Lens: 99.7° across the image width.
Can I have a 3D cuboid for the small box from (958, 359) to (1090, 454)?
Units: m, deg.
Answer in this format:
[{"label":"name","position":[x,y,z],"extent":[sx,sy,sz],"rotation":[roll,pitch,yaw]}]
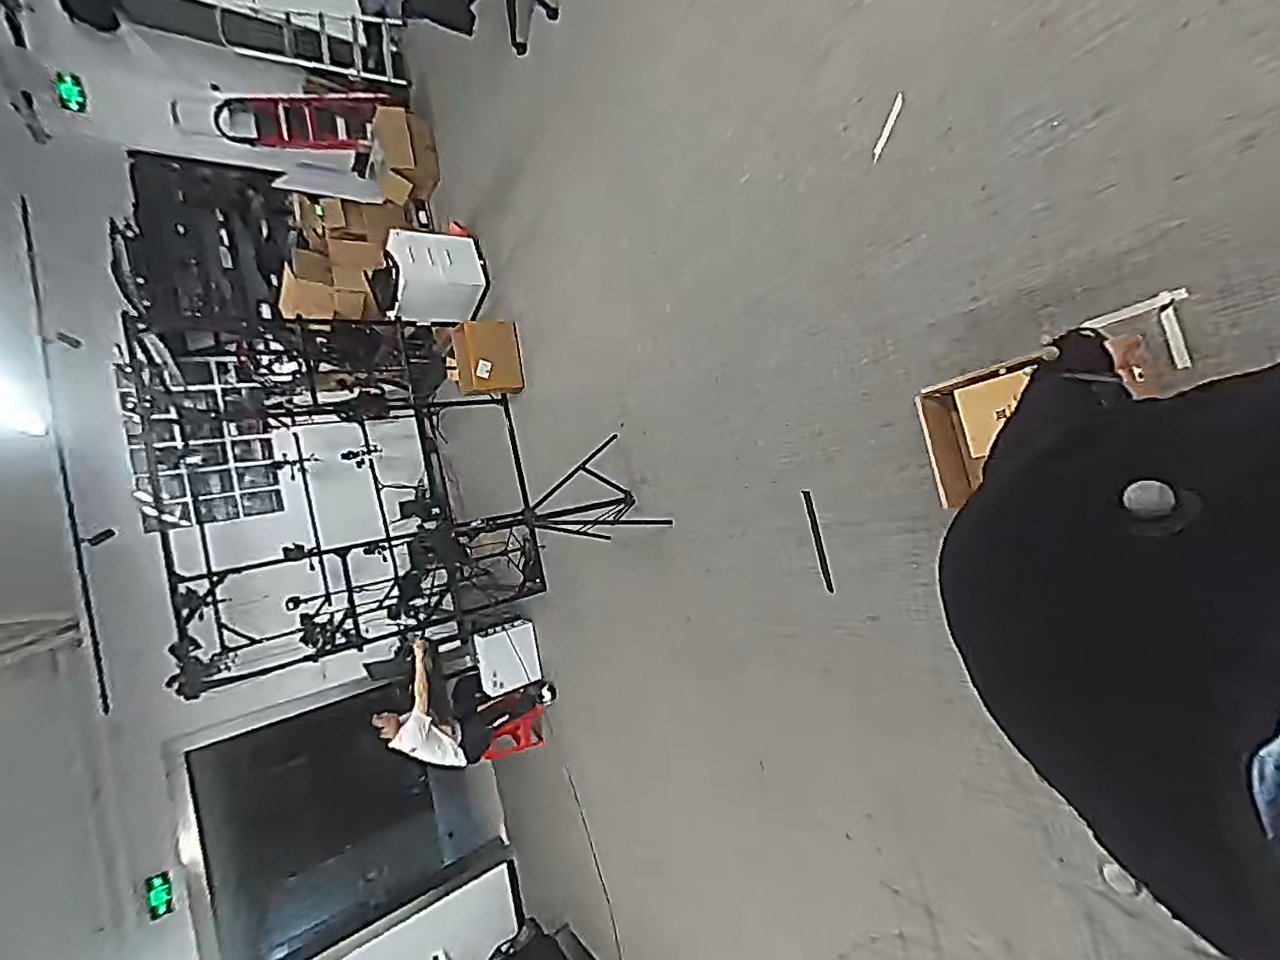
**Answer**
[{"label":"small box","position":[0.864,-0.165,1.218],"extent":[0.179,0.176,0.168],"rotation":[-18,86,54]}]
